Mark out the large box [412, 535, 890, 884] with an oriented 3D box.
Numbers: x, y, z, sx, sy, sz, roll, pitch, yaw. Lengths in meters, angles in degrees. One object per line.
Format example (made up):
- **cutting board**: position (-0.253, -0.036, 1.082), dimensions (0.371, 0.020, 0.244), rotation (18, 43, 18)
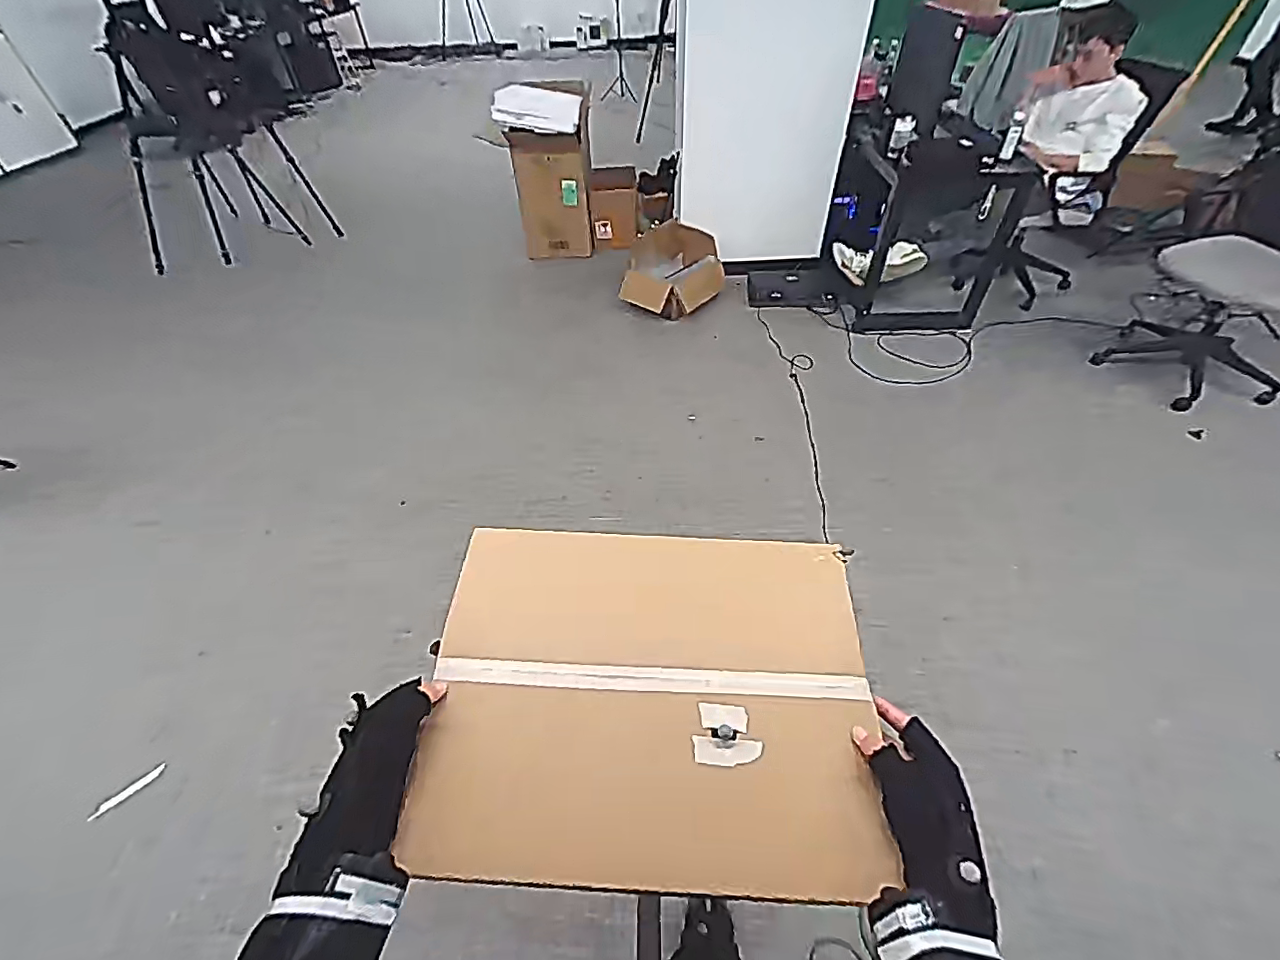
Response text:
- **large box**: position (0.010, 0.282, 0.648), dimensions (0.408, 0.320, 0.320), rotation (3, 54, 1)
